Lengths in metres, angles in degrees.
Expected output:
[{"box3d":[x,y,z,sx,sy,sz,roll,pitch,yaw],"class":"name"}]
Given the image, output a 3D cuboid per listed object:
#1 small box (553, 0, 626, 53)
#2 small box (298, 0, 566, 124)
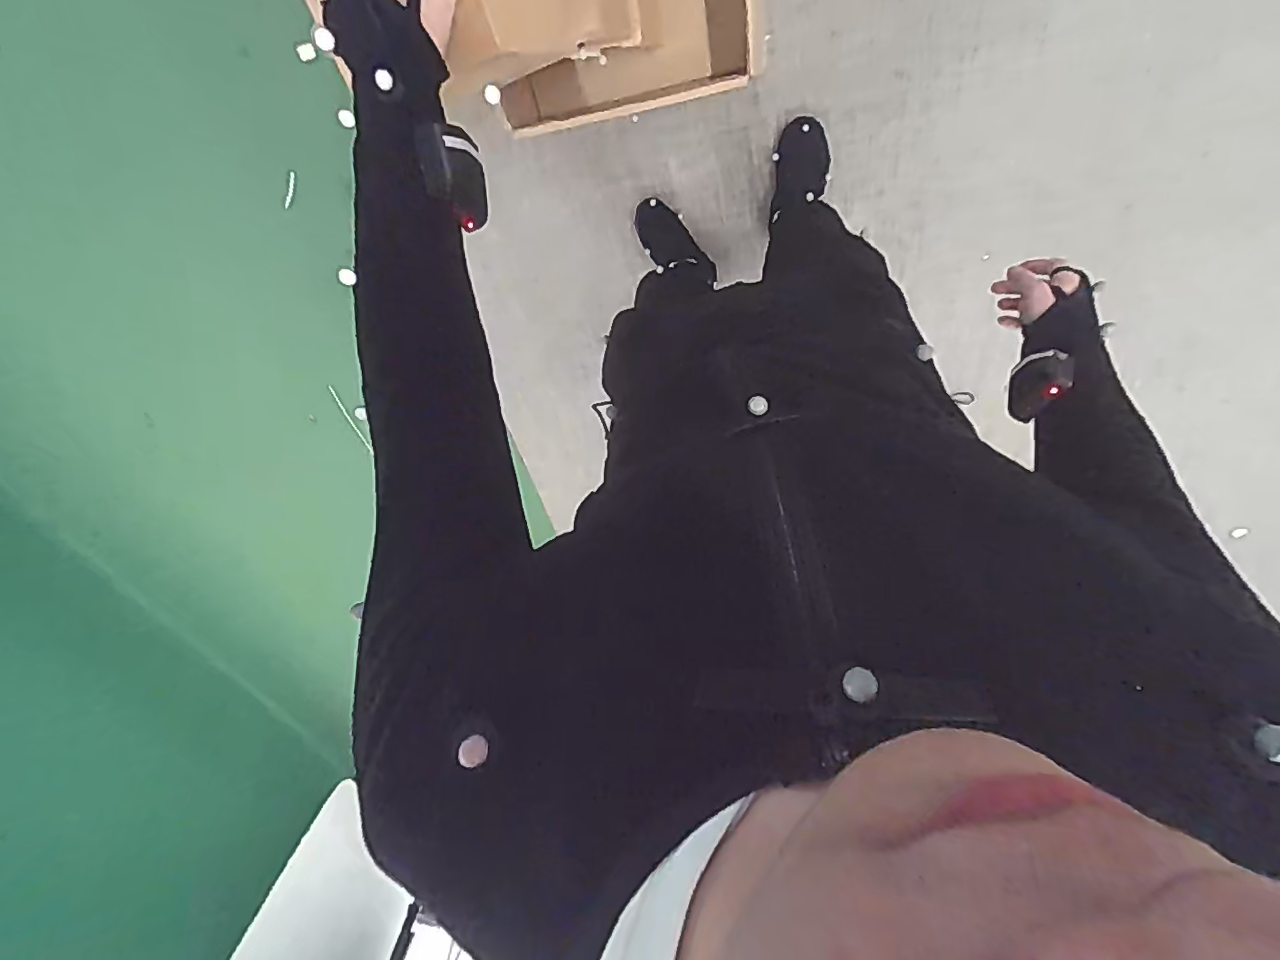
[{"box3d":[-0.118,-0.612,0.635,0.168,0.176,0.179,3,127,12],"class":"small box"},{"box3d":[-0.195,-0.461,0.500,0.168,0.176,0.179,-4,126,25],"class":"small box"}]
